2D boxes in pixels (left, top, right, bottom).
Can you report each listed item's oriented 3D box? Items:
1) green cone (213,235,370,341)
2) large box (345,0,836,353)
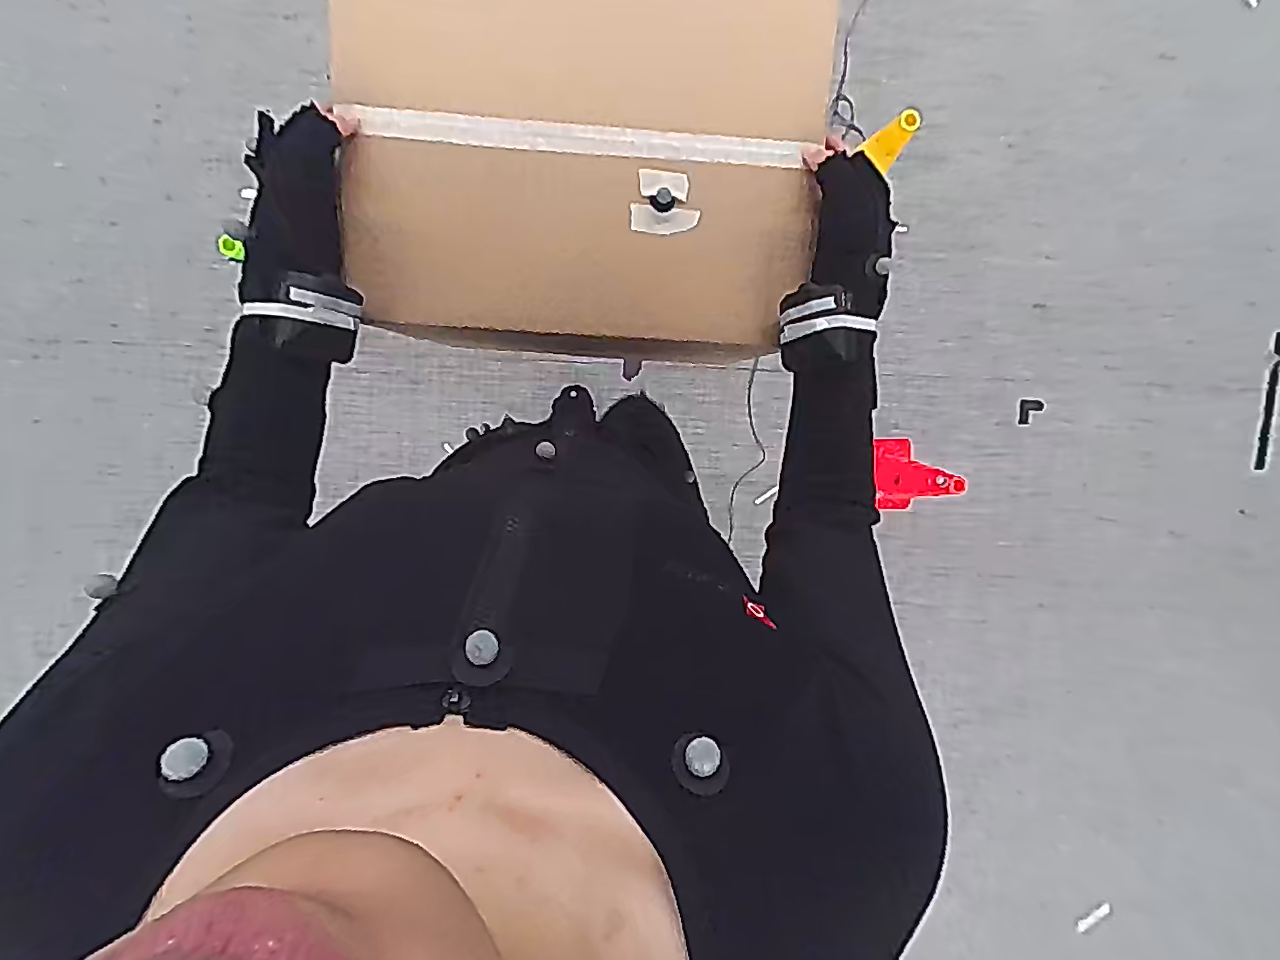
[{"bbox_3d":[-0.791,-0.466,1.198,0.202,0.368,0.200,-35,95,1],"label":"green cone"},{"bbox_3d":[-0.051,-0.316,0.600,0.408,0.320,0.320,2,100,-5],"label":"large box"}]
